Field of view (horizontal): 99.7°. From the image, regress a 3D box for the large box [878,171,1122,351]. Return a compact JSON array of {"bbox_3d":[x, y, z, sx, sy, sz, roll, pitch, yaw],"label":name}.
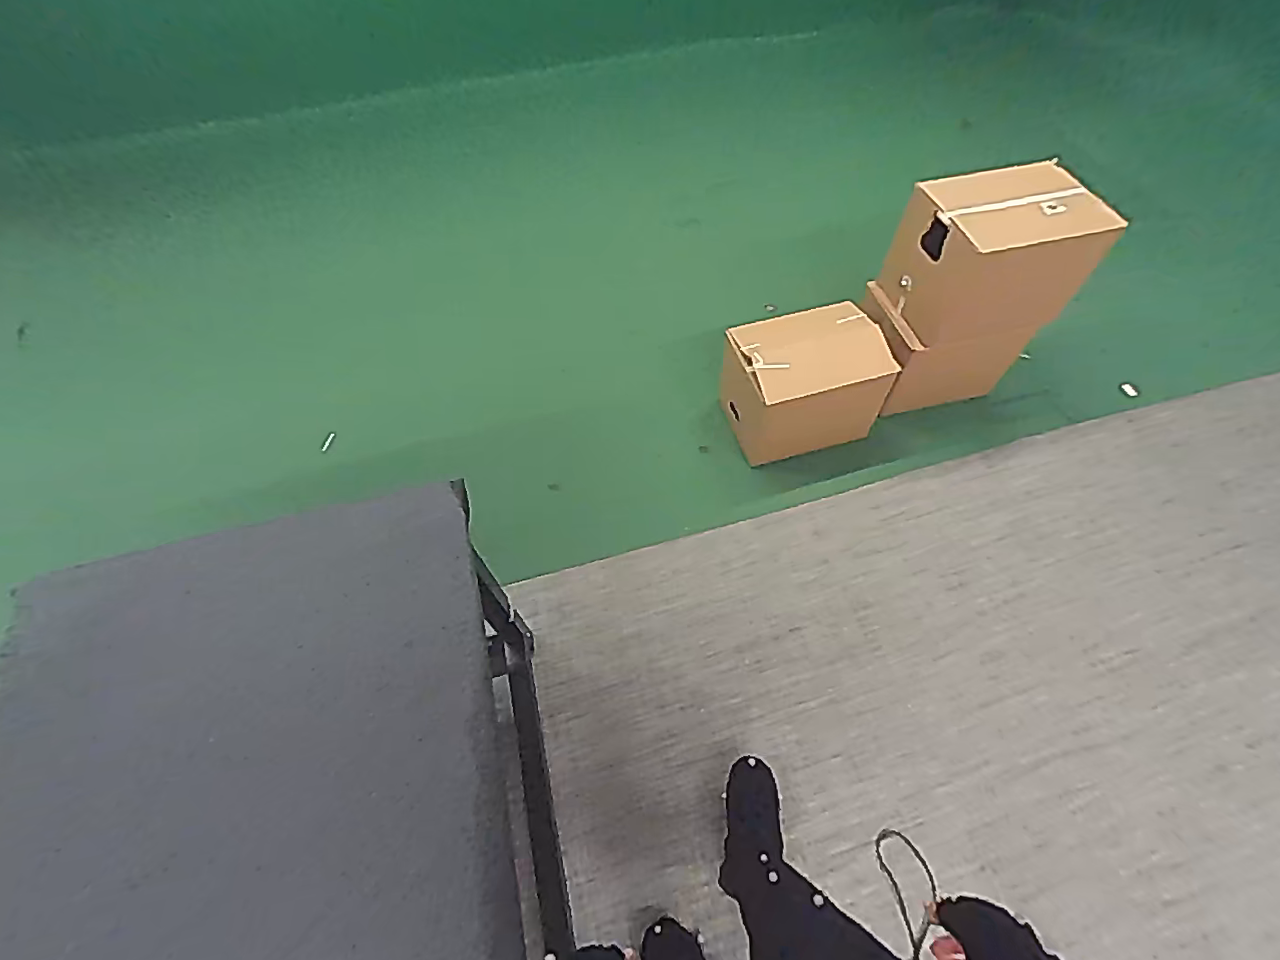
[{"bbox_3d":[0.964,-0.605,1.510,0.408,0.320,0.320,-12,59,-7],"label":"large box"}]
